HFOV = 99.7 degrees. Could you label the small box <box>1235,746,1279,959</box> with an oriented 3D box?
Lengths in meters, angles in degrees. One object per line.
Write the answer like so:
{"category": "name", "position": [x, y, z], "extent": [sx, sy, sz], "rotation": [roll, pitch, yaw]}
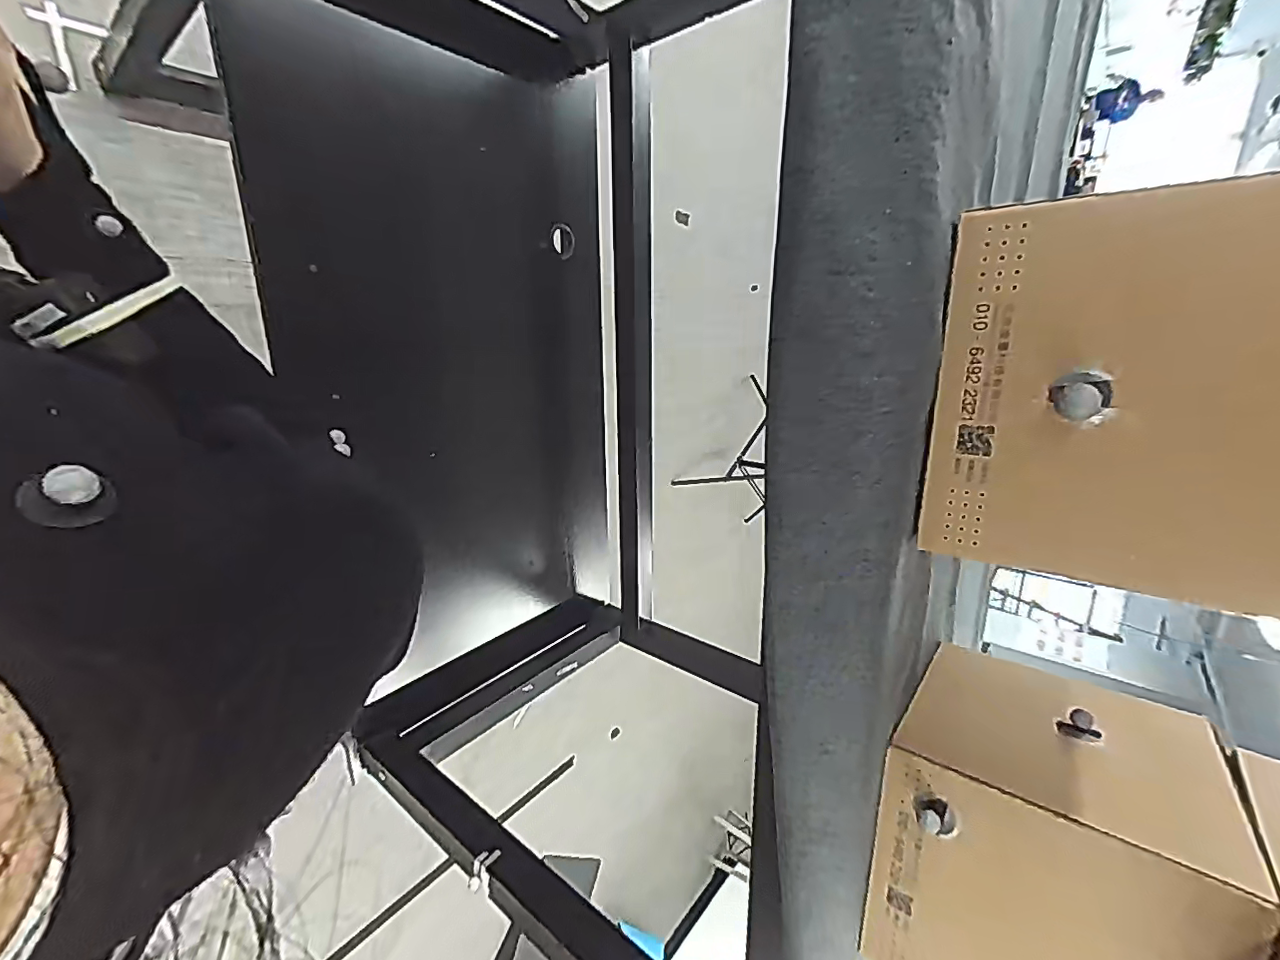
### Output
{"category": "small box", "position": [0.382, 0.269, 0.246], "extent": [0.179, 0.176, 0.168], "rotation": [-23, 117, -48]}

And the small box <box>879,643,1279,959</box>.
{"category": "small box", "position": [0.275, 0.238, 0.369], "extent": [0.179, 0.176, 0.168], "rotation": [-14, 109, -51]}

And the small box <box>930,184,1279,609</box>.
{"category": "small box", "position": [0.270, -0.051, 0.287], "extent": [0.179, 0.176, 0.168], "rotation": [-20, 114, -50]}
